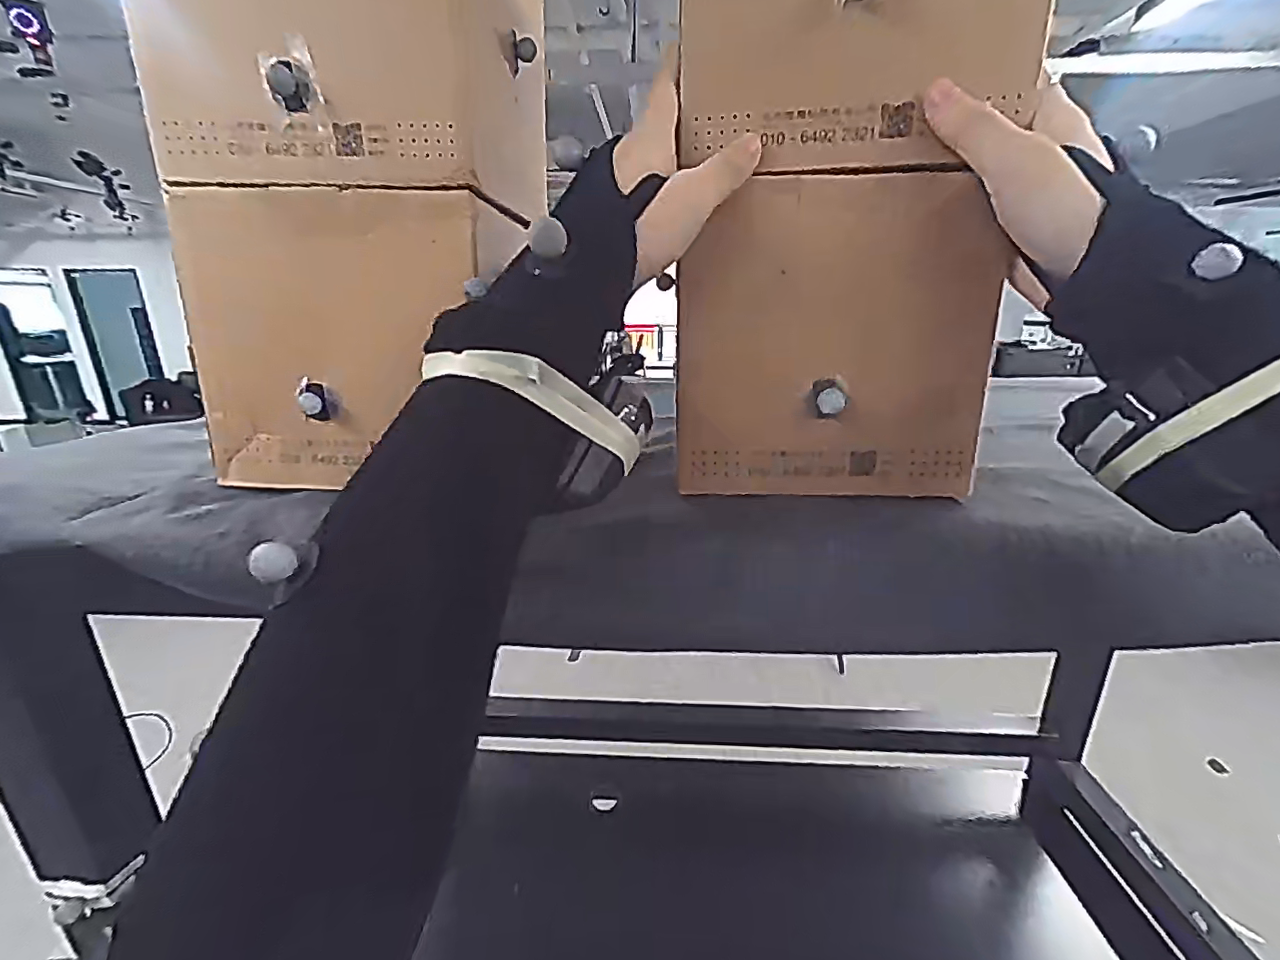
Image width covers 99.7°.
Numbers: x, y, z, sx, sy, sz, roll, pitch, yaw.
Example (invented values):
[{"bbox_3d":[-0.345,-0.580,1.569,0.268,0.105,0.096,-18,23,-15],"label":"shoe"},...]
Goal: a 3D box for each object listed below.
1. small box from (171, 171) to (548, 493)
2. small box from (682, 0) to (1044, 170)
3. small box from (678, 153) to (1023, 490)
[{"bbox_3d":[-0.162,-0.098,0.377,0.168,0.176,0.179,2,17,2],"label":"small box"},{"bbox_3d":[0.113,-0.256,0.317,0.168,0.176,0.179,3,17,9],"label":"small box"},{"bbox_3d":[0.110,-0.097,0.364,0.168,0.176,0.179,-1,16,5],"label":"small box"}]
